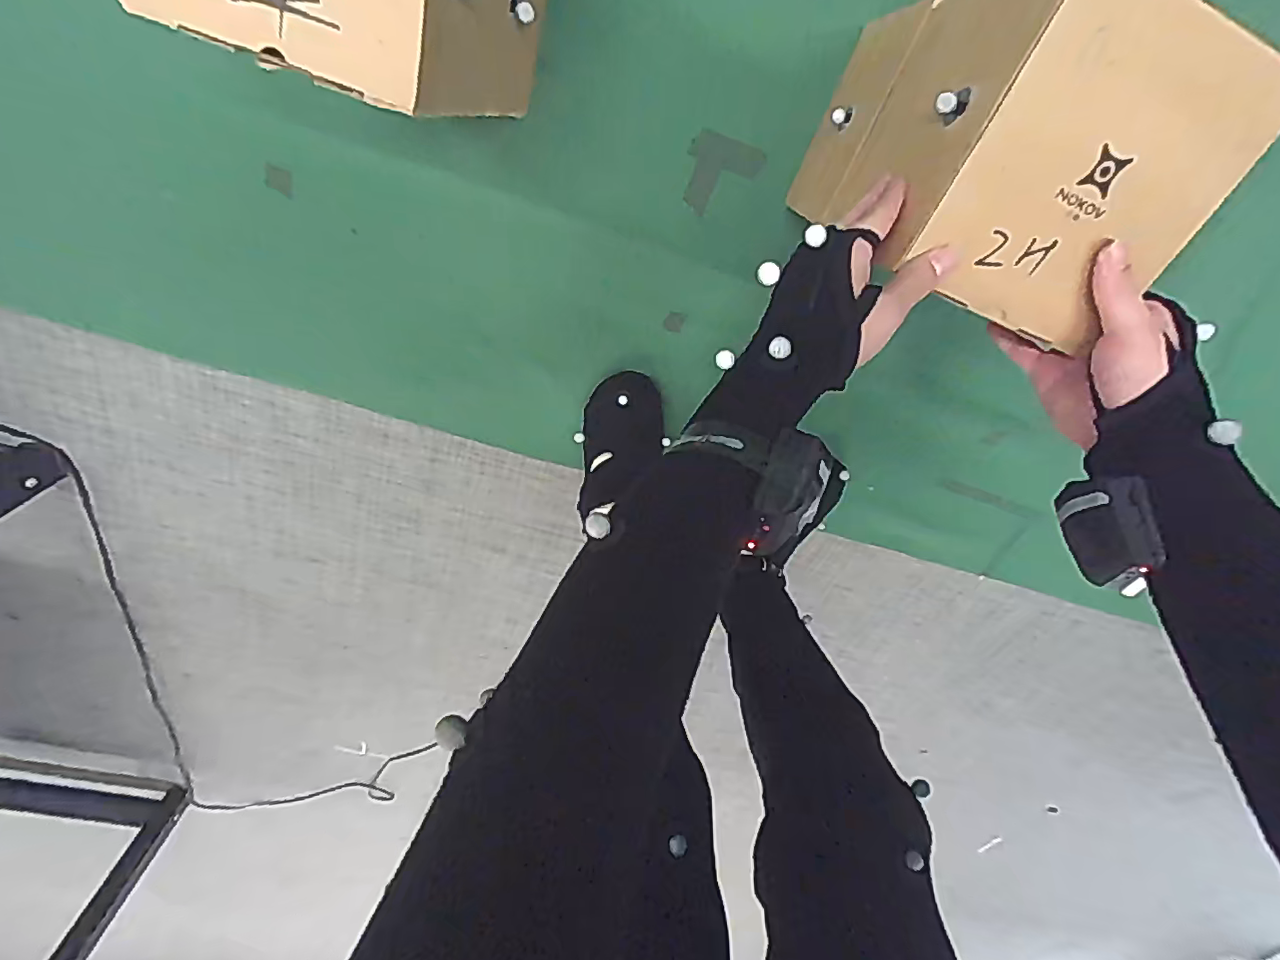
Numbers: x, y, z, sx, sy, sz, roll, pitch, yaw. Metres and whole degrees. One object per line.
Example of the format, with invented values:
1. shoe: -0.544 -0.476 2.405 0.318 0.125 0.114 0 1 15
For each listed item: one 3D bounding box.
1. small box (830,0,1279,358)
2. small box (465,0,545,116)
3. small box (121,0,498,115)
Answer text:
1. small box: 0.269 -0.221 0.394 0.168 0.176 0.179 18 121 -13
2. small box: -0.178 -0.443 0.465 0.168 0.176 0.179 16 124 -9
3. small box: -0.181 -0.351 0.329 0.168 0.176 0.179 16 123 -10
